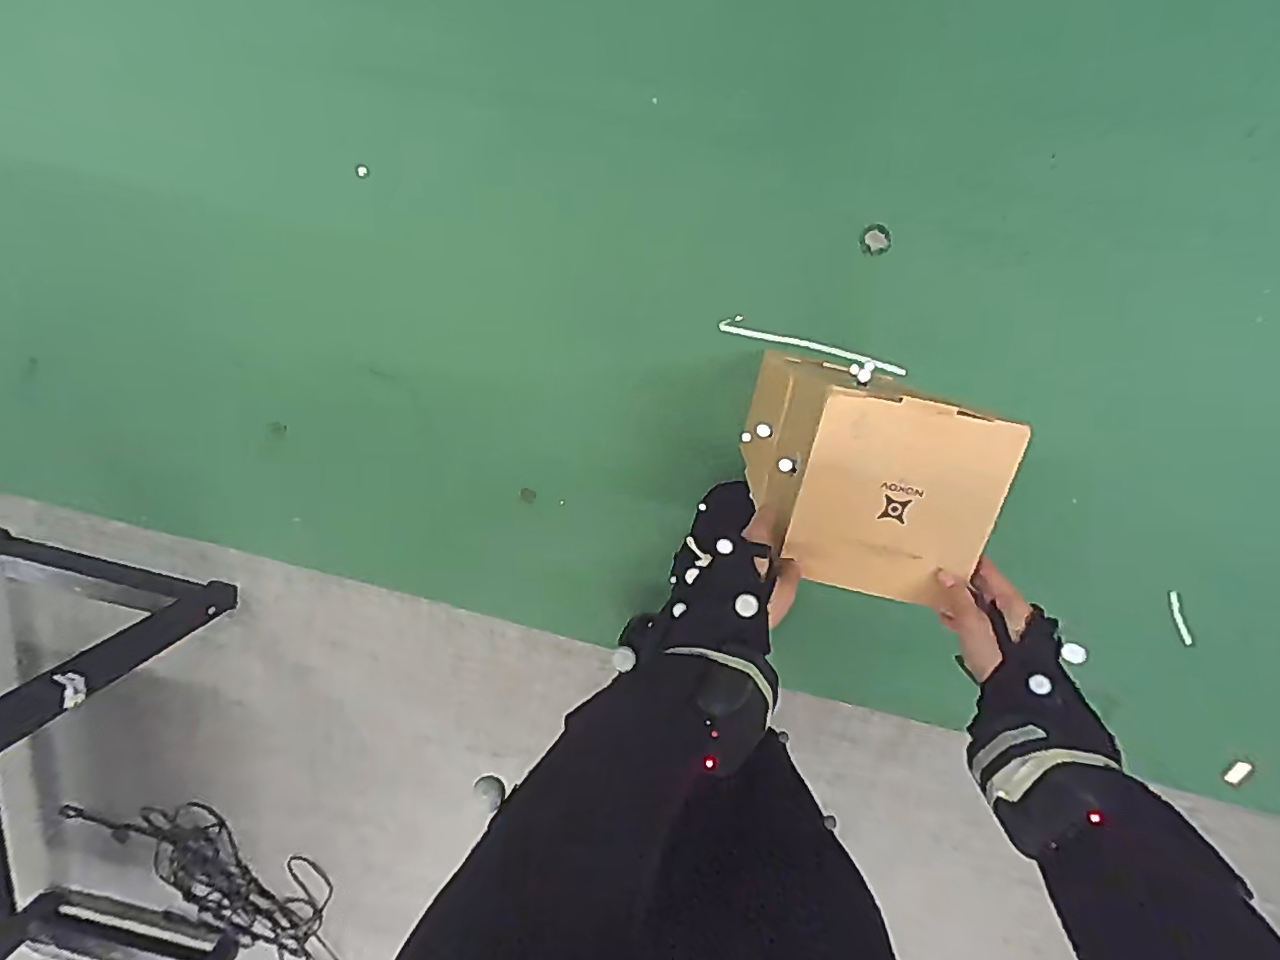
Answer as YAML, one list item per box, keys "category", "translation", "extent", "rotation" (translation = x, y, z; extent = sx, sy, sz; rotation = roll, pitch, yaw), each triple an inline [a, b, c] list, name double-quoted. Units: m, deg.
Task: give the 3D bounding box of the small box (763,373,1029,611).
- category: "small box"
  translation: [0.227, -0.002, 0.538]
  extent: [0.168, 0.176, 0.179]
  rotation: [12, 108, 3]

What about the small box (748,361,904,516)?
- category: "small box"
  translation: [0.239, -0.047, 0.694]
  extent: [0.168, 0.176, 0.179]
  rotation: [12, 107, 2]
